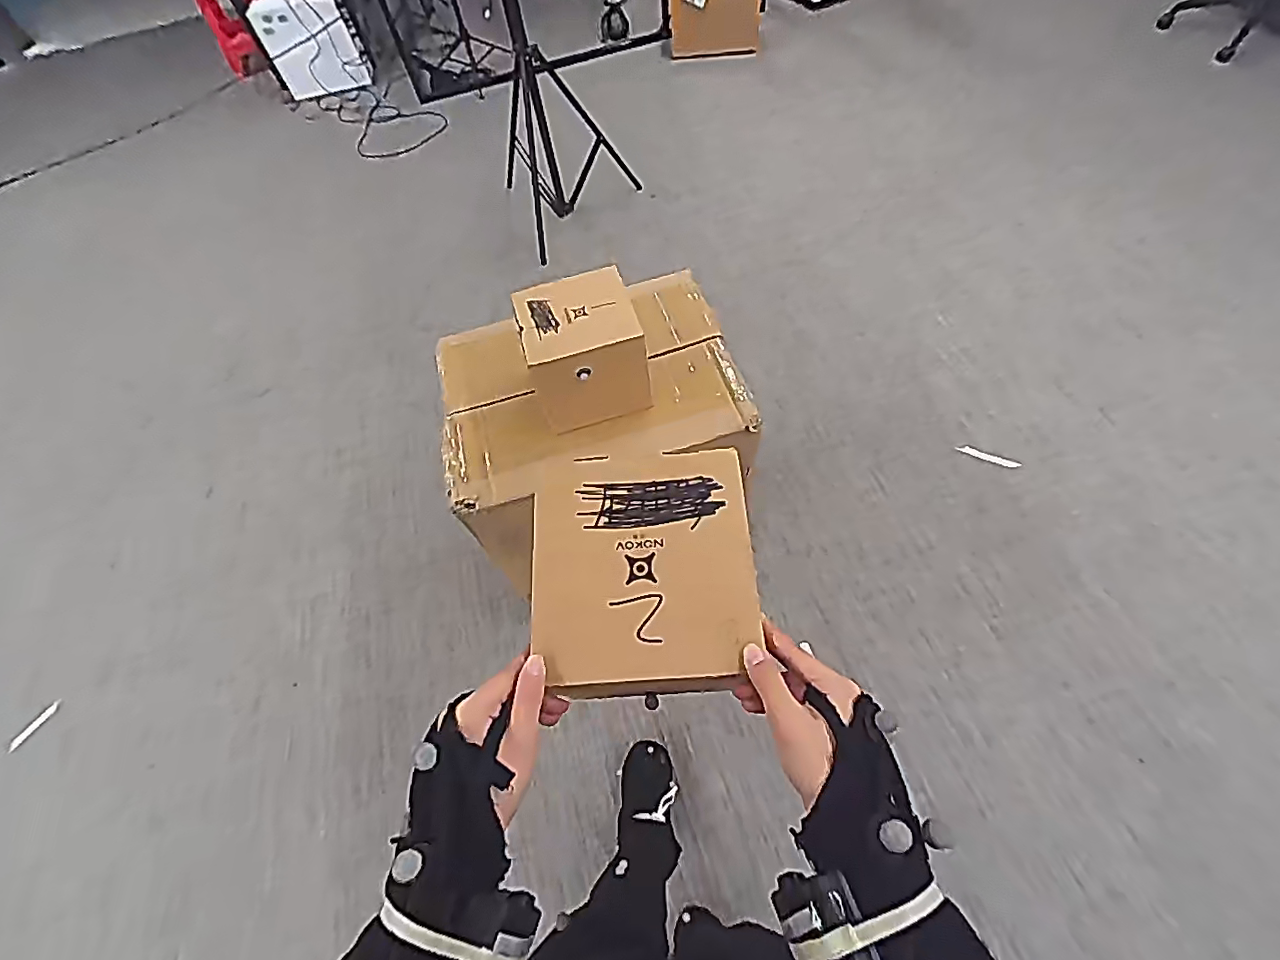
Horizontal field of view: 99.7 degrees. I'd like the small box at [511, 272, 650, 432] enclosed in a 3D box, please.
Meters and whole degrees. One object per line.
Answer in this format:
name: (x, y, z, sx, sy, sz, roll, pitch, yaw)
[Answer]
small box: (-0.092, -0.201, 0.883, 0.179, 0.176, 0.168, -16, 59, -4)
